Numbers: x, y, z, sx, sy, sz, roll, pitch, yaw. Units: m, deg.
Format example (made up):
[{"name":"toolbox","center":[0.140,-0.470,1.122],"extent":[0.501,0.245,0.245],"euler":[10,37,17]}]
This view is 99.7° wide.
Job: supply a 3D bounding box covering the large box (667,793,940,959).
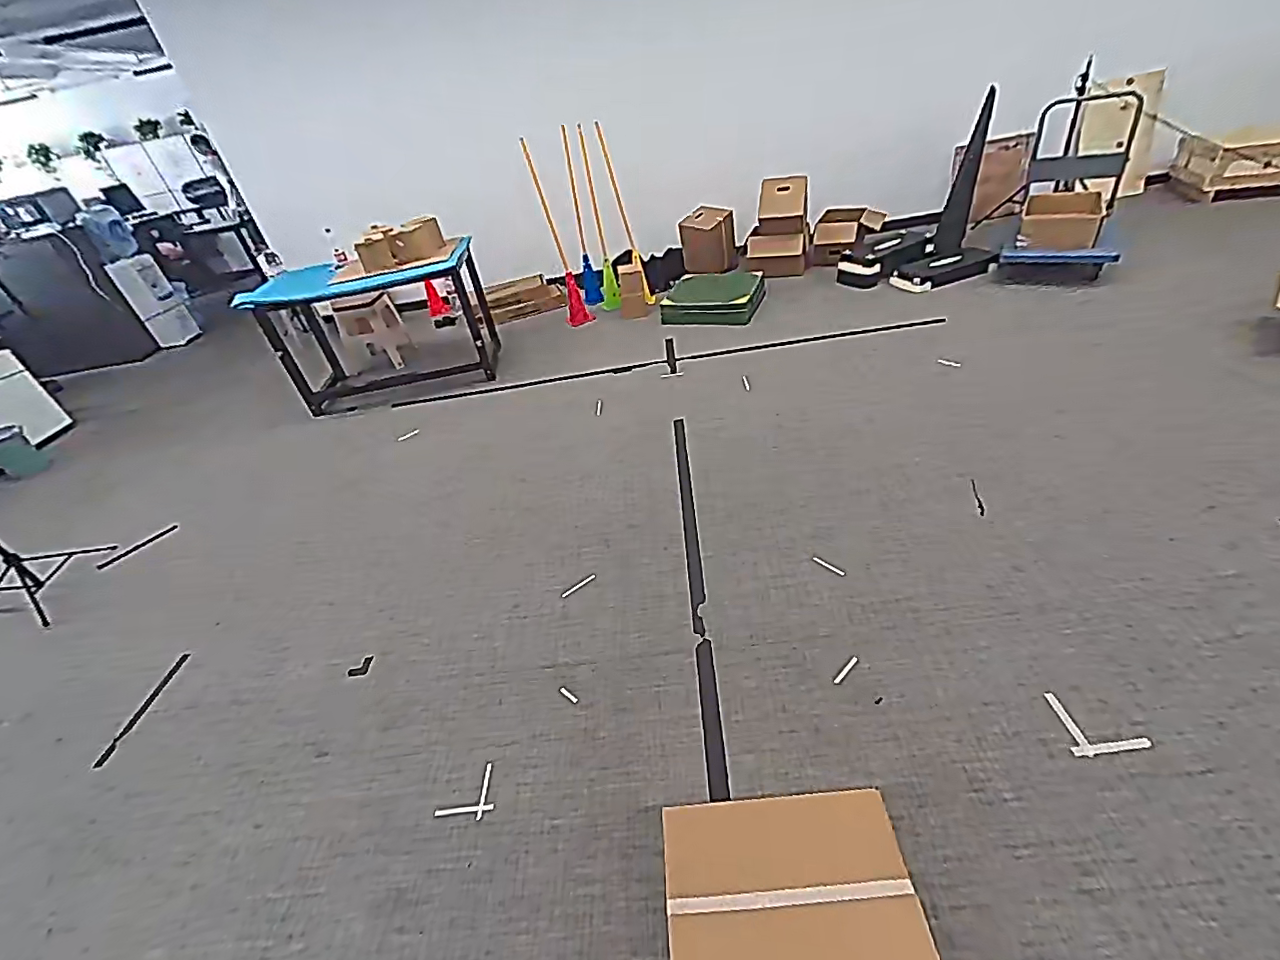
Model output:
[{"name":"large box","center":[0.275,0.815,0.975],"extent":[0.408,0.320,0.320],"euler":[-8,35,4]}]
